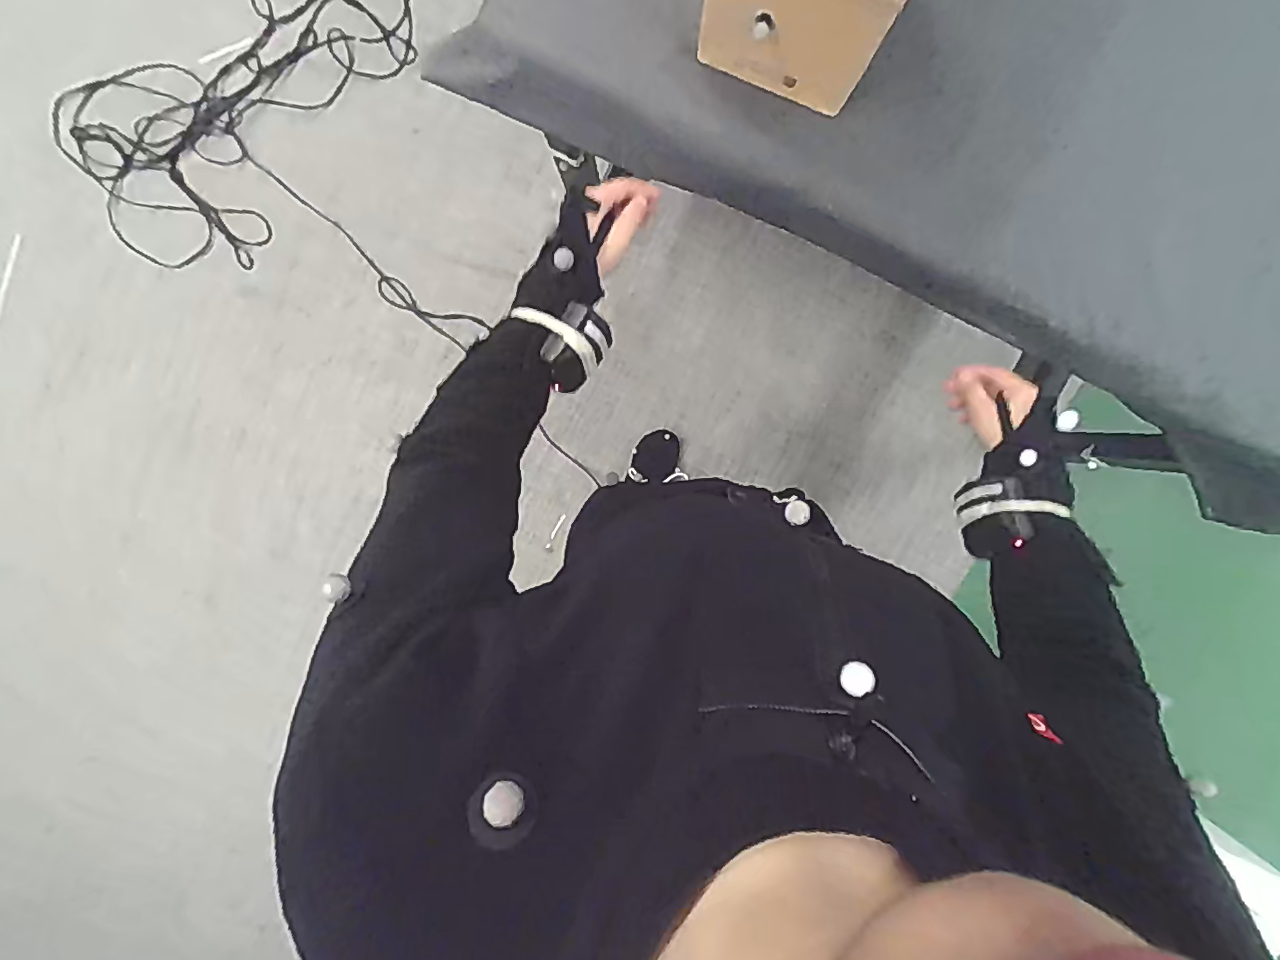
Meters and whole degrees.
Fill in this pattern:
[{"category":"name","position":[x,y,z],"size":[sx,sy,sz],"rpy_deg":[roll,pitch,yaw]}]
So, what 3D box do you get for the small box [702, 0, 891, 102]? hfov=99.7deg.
[{"category":"small box","position":[0.165,-0.504,0.501],"size":[0.168,0.176,0.179],"rpy_deg":[22,96,-2]}]
